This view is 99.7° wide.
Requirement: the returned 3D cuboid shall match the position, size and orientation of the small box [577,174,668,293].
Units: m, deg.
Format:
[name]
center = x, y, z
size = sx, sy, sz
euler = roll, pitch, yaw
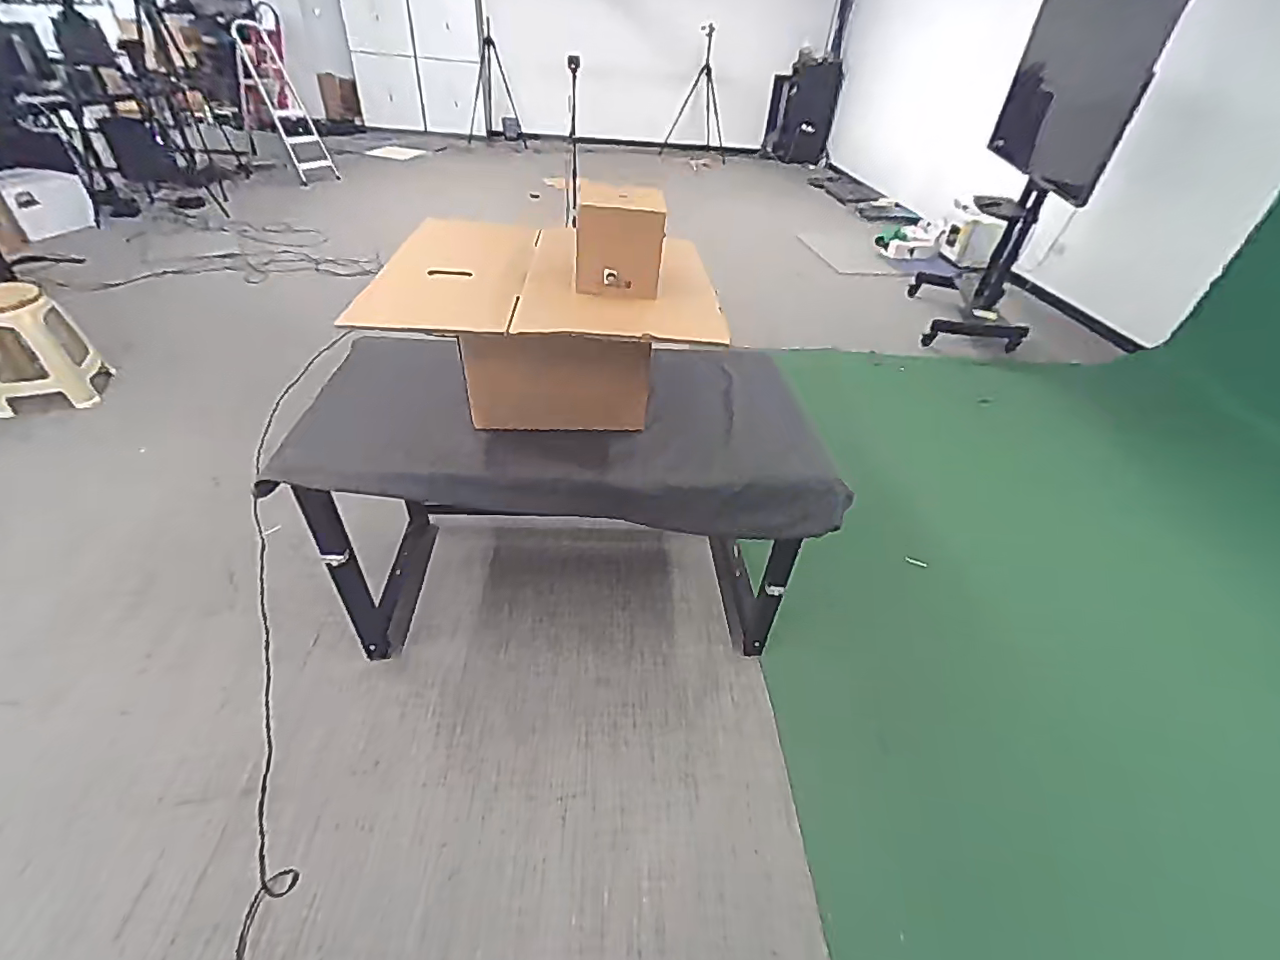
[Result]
[small box]
center = -0.039, -0.493, 1.083
size = 0.168, 0.176, 0.179
euler = 3, 42, -4
